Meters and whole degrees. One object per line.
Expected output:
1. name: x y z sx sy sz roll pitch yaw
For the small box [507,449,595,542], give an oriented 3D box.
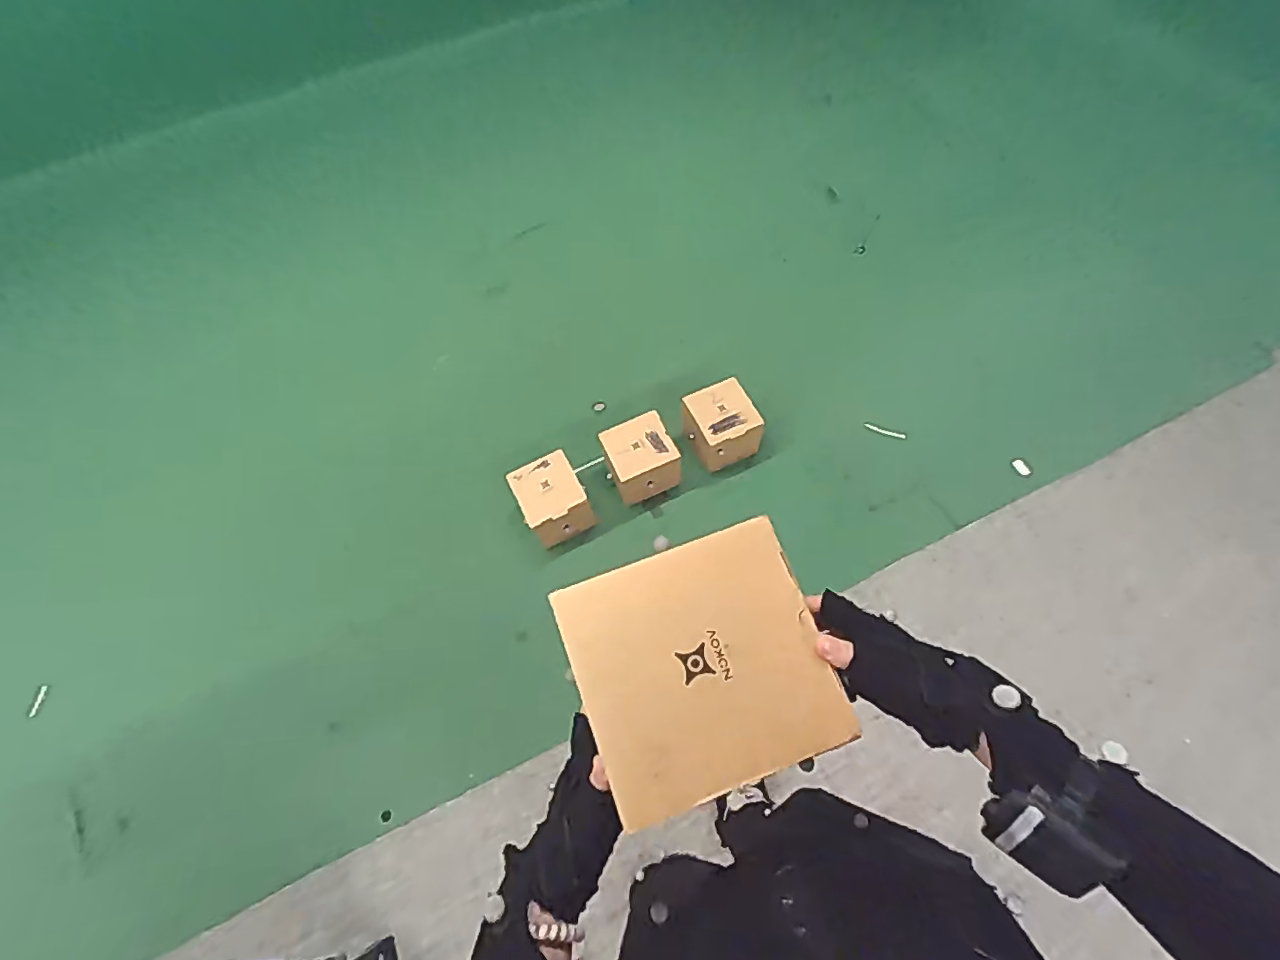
1. small box: -0.235 0.051 1.469 0.168 0.176 0.179 -26 67 -8
